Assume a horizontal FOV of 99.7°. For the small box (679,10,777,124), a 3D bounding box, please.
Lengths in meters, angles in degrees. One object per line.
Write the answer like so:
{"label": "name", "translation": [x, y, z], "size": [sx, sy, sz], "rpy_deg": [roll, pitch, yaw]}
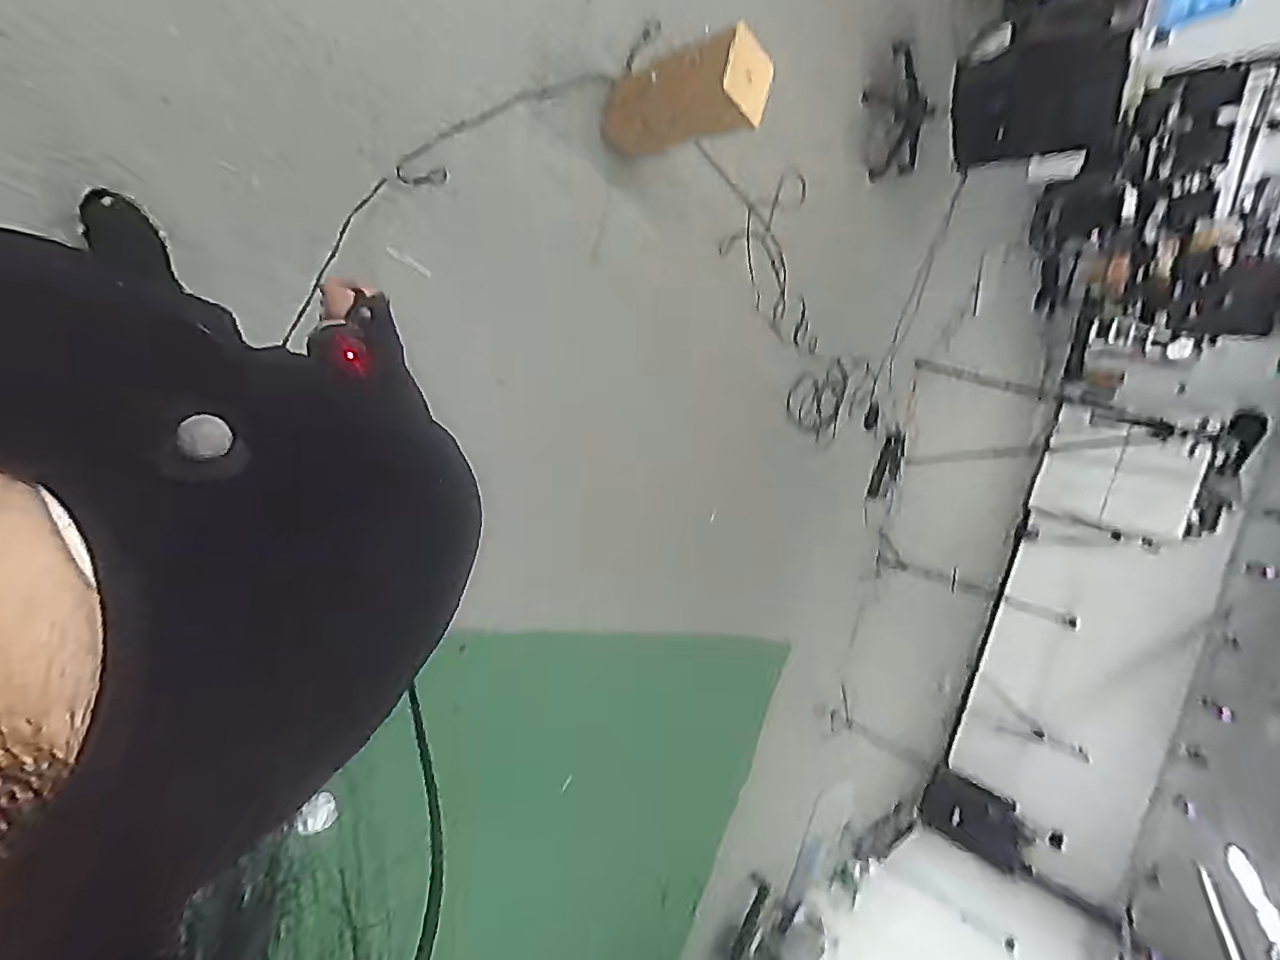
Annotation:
{"label": "small box", "translation": [0.235, -1.095, 1.455], "size": [0.179, 0.176, 0.168], "rpy_deg": [11, 95, -46]}

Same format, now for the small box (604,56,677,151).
{"label": "small box", "translation": [0.012, -1.160, 1.685], "size": [0.179, 0.176, 0.168], "rpy_deg": [7, 99, -47]}

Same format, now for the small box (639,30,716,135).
{"label": "small box", "translation": [0.128, -1.139, 1.570], "size": [0.179, 0.176, 0.168], "rpy_deg": [13, 94, -46]}
